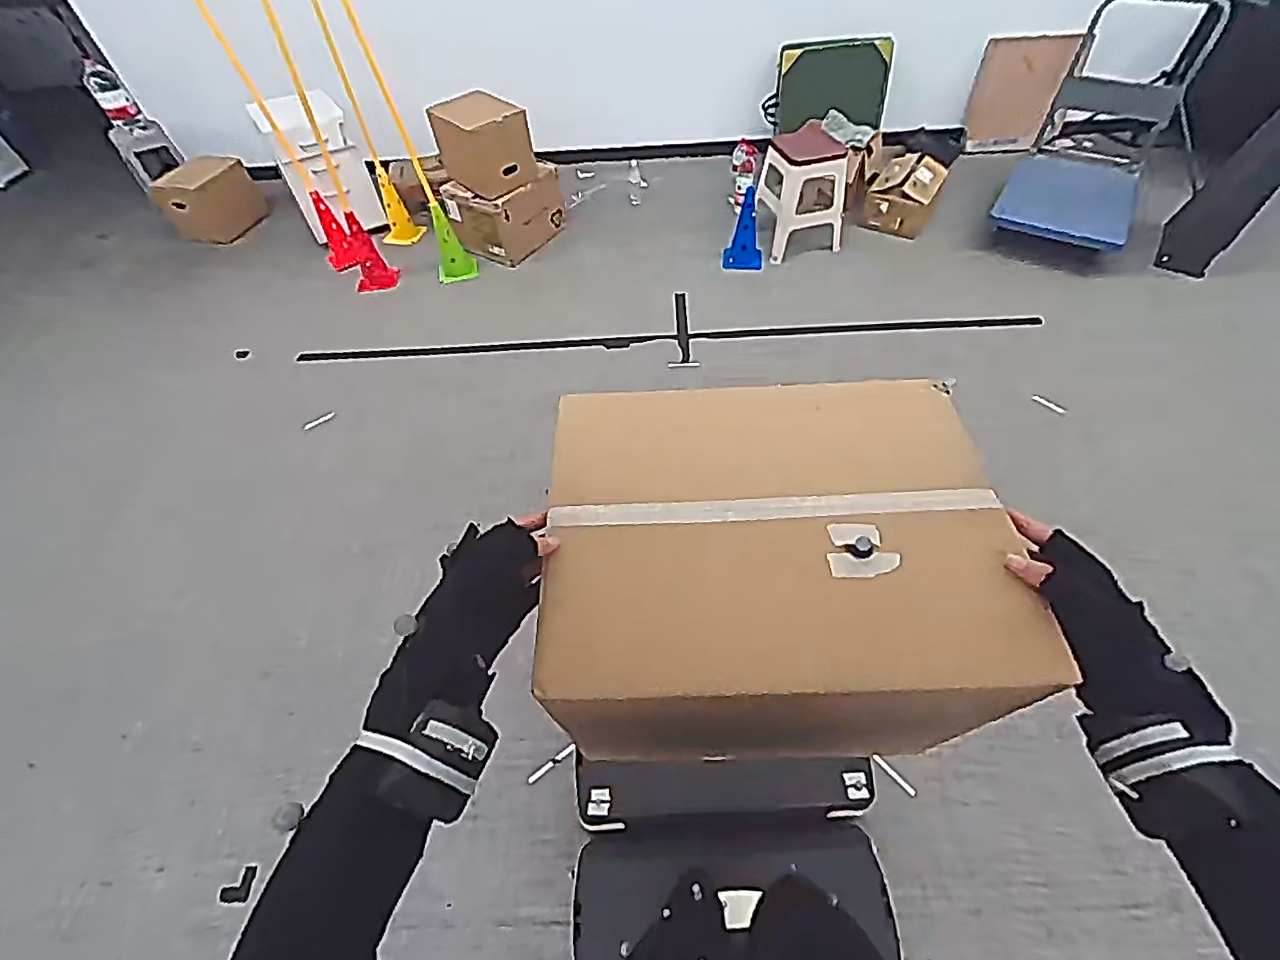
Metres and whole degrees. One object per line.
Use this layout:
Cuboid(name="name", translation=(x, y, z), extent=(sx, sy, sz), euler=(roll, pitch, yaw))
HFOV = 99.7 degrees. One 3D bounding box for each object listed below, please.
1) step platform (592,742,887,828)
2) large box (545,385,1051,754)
Cuboid(name="step platform", translation=(0.224, 0.655, 1.320), extent=(0.684, 0.204, 0.286), euler=(-3, 52, 0))
Cuboid(name="large box", translation=(0.122, 0.116, 0.625), extent=(0.408, 0.320, 0.320), euler=(-2, 55, 1))
